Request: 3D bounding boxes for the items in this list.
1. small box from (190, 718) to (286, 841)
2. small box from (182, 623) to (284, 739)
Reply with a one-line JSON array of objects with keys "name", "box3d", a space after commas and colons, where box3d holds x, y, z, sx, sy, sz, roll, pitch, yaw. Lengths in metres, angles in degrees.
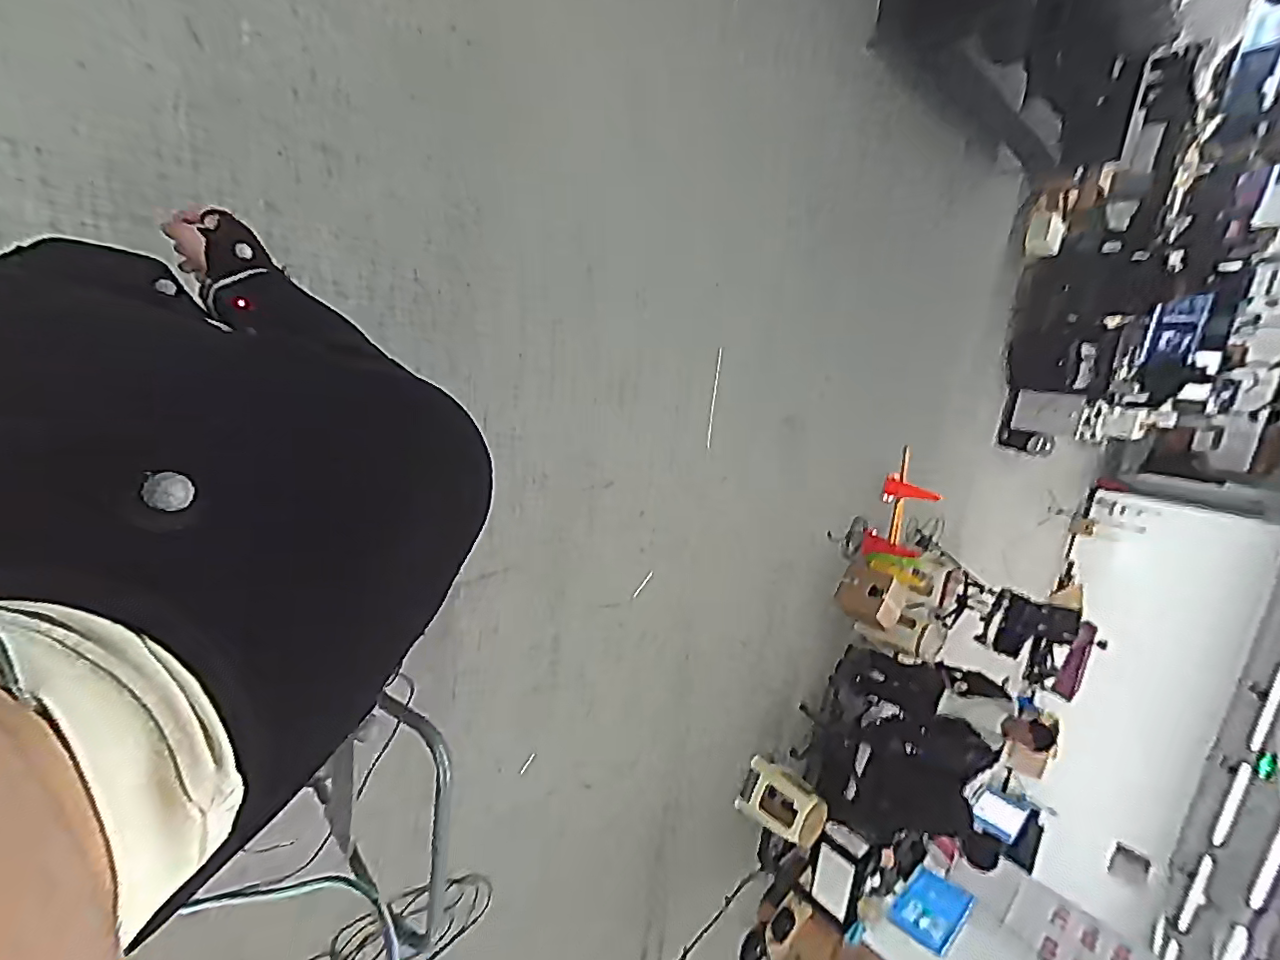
[{"name": "small box", "box3d": [-0.966, 0.700, 1.295, 0.168, 0.176, 0.179, 0, 105, -43]}, {"name": "small box", "box3d": [-0.932, 0.445, 1.240, 0.168, 0.176, 0.179, -7, 108, -42]}]
